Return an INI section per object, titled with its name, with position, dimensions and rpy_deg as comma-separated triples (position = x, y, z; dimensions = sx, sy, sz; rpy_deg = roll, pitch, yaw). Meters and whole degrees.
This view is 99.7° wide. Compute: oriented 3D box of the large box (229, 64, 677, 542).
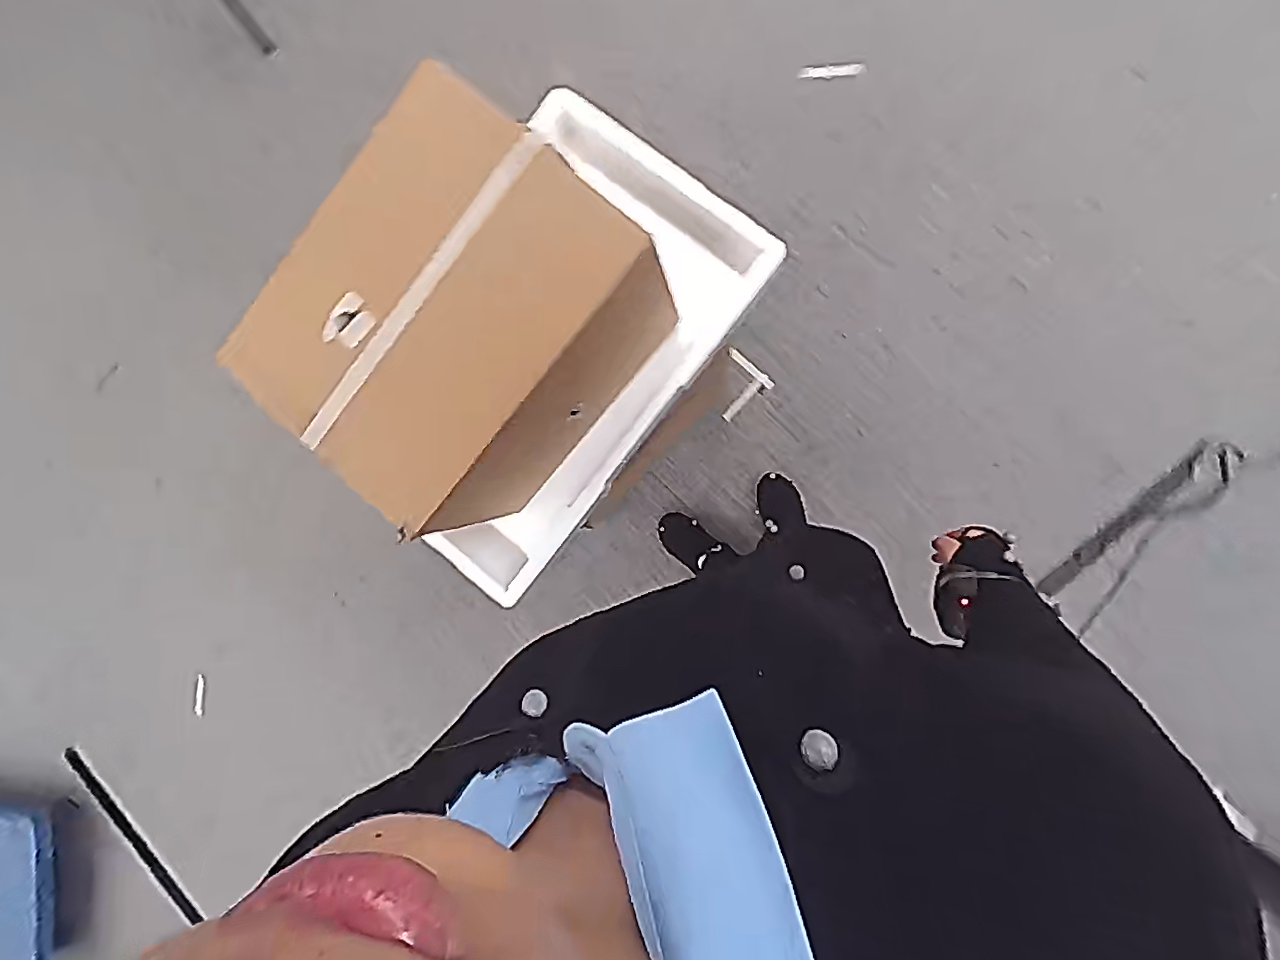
[large box]
position = -0.200, -0.187, 0.709
dimensions = 0.320, 0.320, 0.408
rpy_deg = 41, 98, 7
